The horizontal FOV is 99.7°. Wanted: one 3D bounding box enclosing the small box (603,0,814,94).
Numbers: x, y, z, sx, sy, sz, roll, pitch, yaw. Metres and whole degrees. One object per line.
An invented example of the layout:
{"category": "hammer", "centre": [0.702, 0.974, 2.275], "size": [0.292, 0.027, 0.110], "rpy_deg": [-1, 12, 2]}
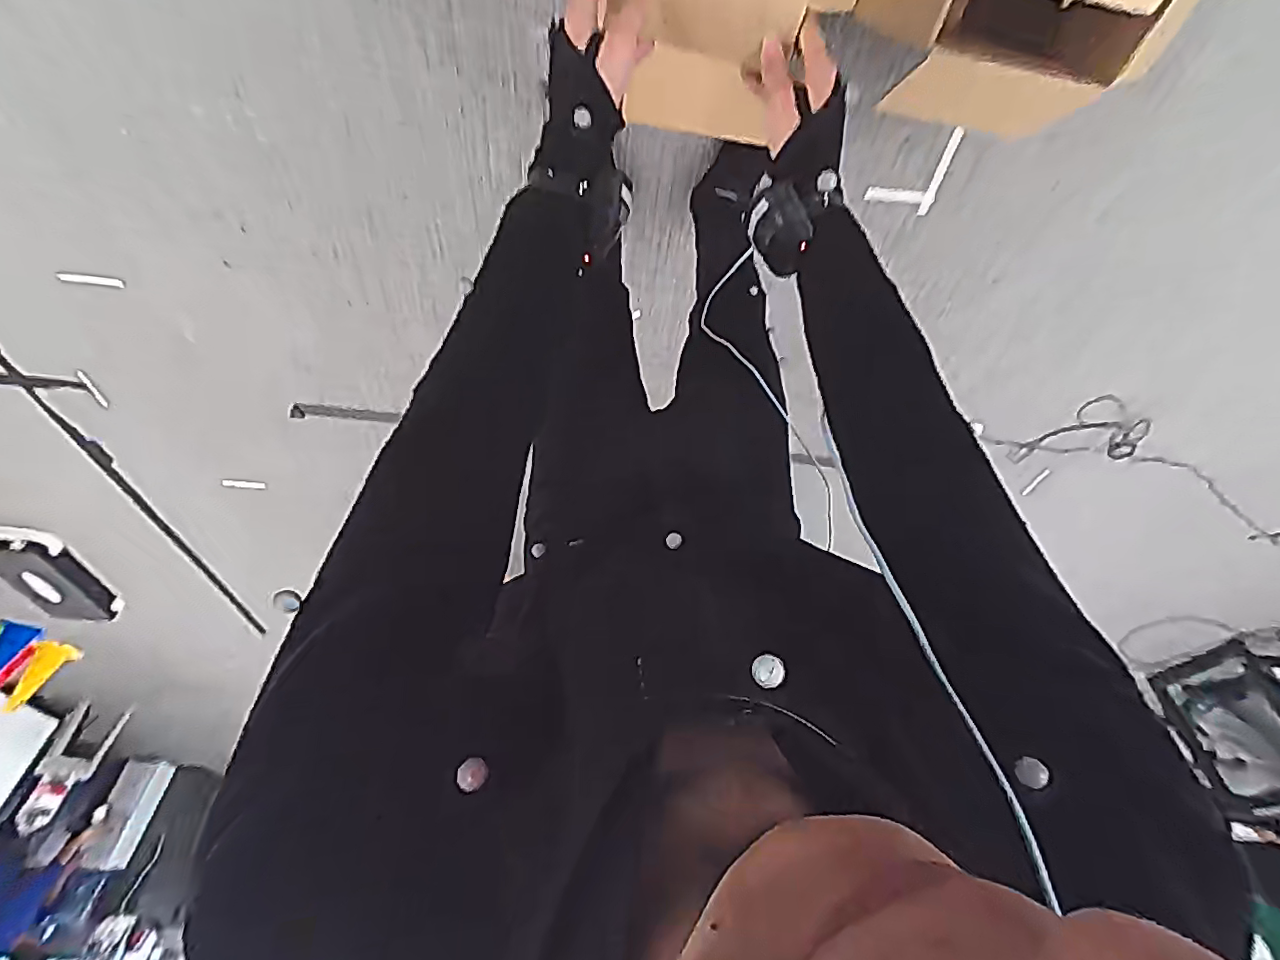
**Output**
{"category": "small box", "centre": [0.070, -0.474, 0.456], "size": [0.168, 0.176, 0.179], "rpy_deg": [9, 142, -9]}
